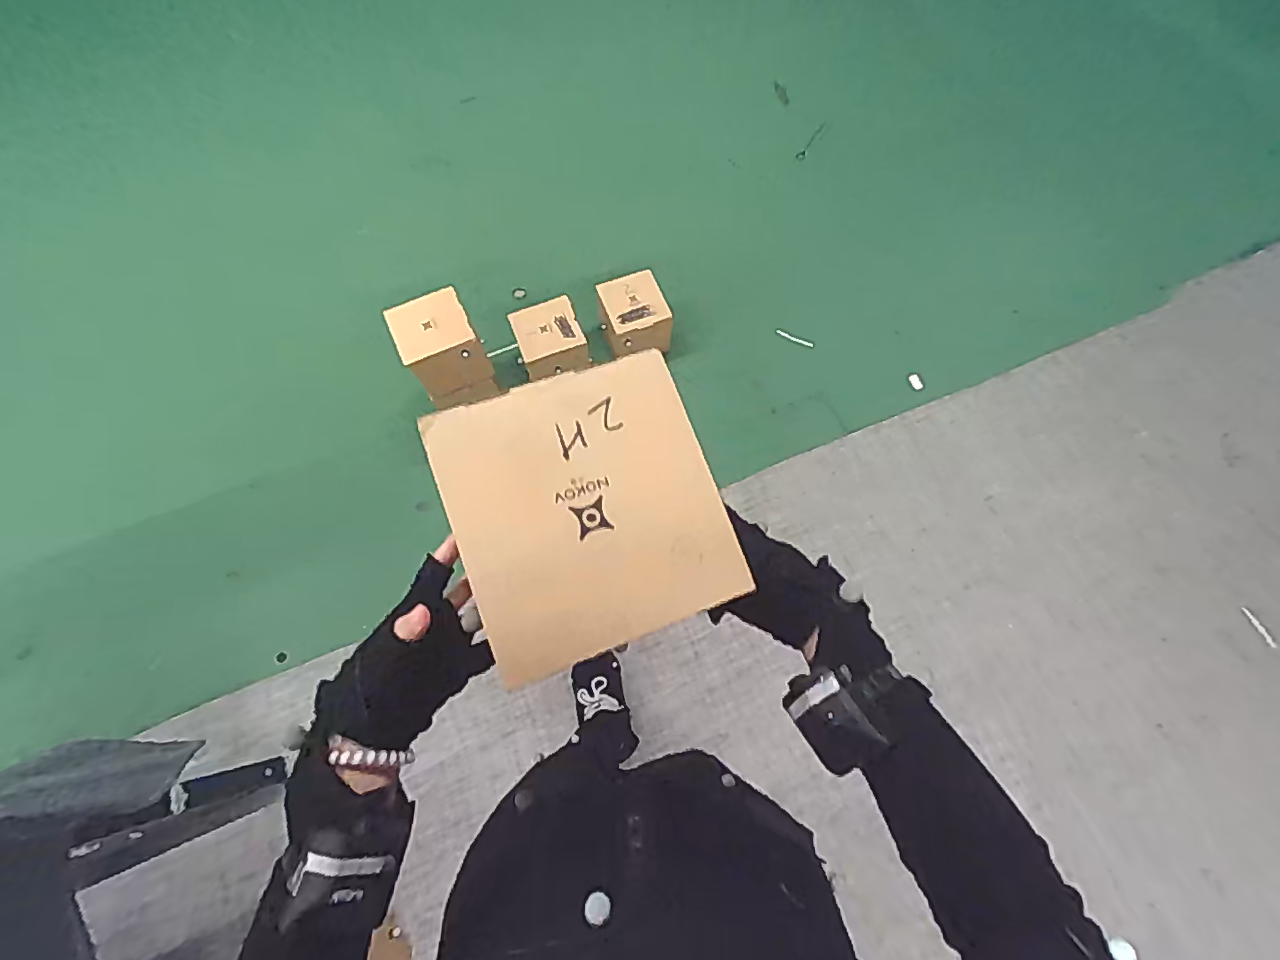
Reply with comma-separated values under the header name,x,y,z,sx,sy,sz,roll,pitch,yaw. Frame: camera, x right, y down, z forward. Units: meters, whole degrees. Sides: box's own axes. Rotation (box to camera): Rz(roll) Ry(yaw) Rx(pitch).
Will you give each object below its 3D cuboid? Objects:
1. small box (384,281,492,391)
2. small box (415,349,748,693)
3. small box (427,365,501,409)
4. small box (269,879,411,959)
name,x,y,z,sx,sy,sz,roll,pitch,yaw
small box,-0.489,-0.345,1.328,0.179,0.176,0.168,-25,73,-8
small box,-0.045,0.032,0.410,0.168,0.176,0.179,-19,82,-11
small box,-0.494,-0.292,1.482,0.168,0.176,0.179,-23,74,-8
small box,-0.594,0.950,1.070,0.179,0.176,0.168,-34,76,-10
